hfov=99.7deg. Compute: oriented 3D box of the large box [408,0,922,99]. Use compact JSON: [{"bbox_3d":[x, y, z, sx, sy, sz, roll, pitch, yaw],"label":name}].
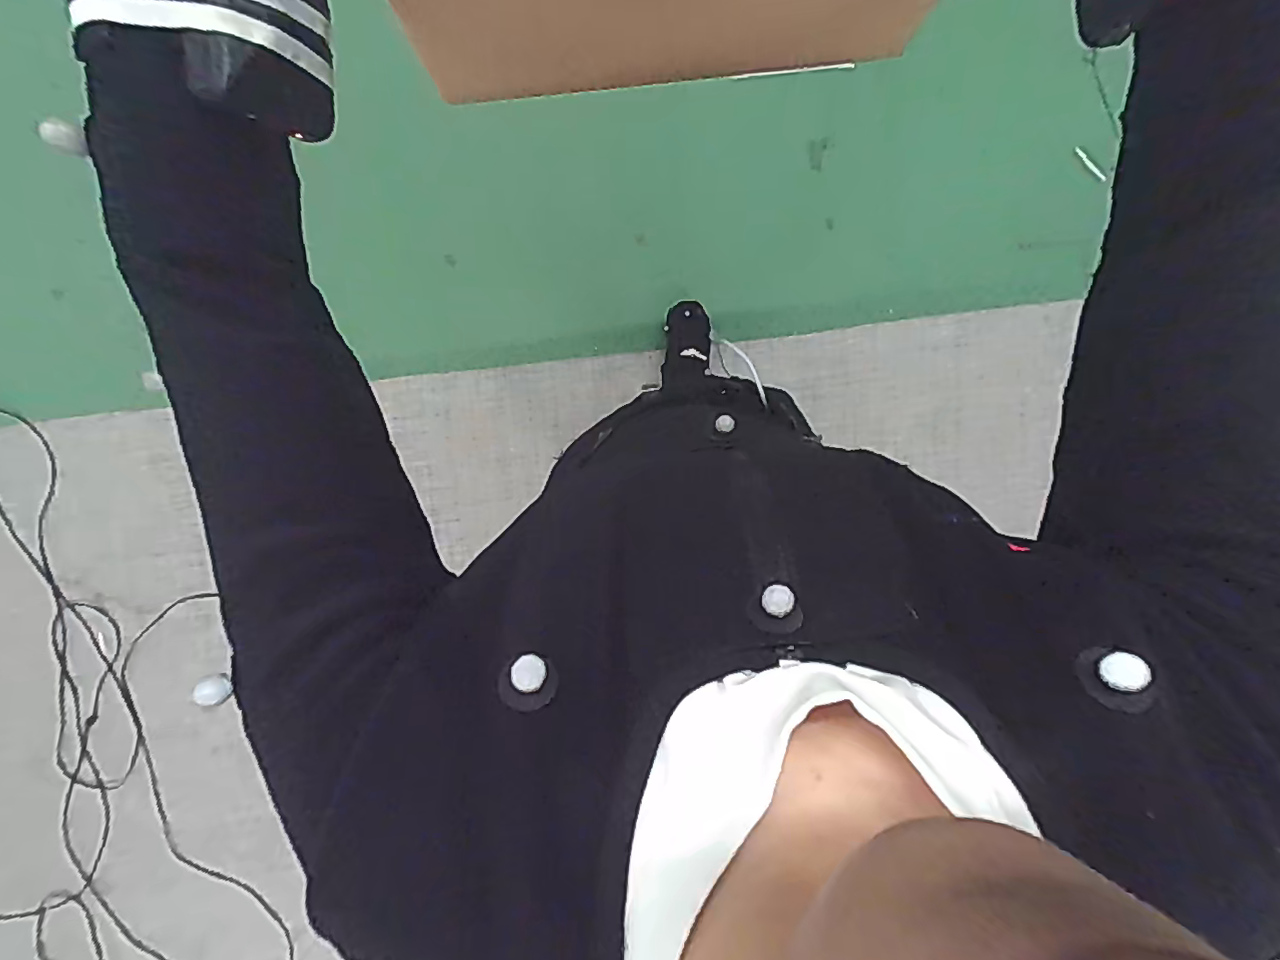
[{"bbox_3d":[0.016,-0.496,0.319,0.408,0.320,0.320,-8,95,-2],"label":"large box"}]
